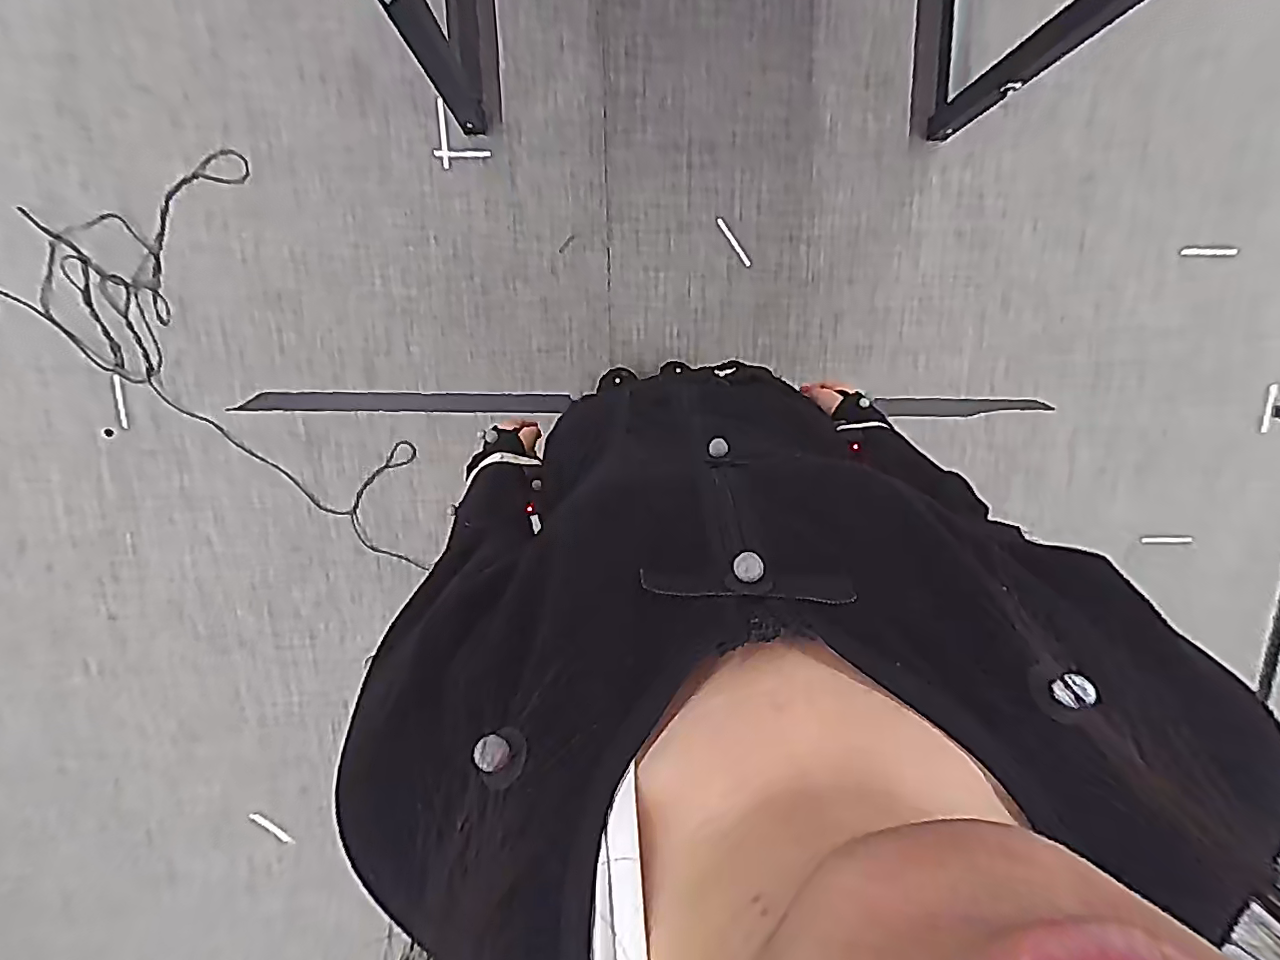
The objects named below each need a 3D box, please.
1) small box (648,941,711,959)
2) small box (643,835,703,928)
[{"bbox_3d":[0.105,1.306,1.349,0.168,0.176,0.179,0,101,-2],"label":"small box"},{"bbox_3d":[0.096,1.234,1.670,0.168,0.176,0.179,2,102,-2],"label":"small box"}]
